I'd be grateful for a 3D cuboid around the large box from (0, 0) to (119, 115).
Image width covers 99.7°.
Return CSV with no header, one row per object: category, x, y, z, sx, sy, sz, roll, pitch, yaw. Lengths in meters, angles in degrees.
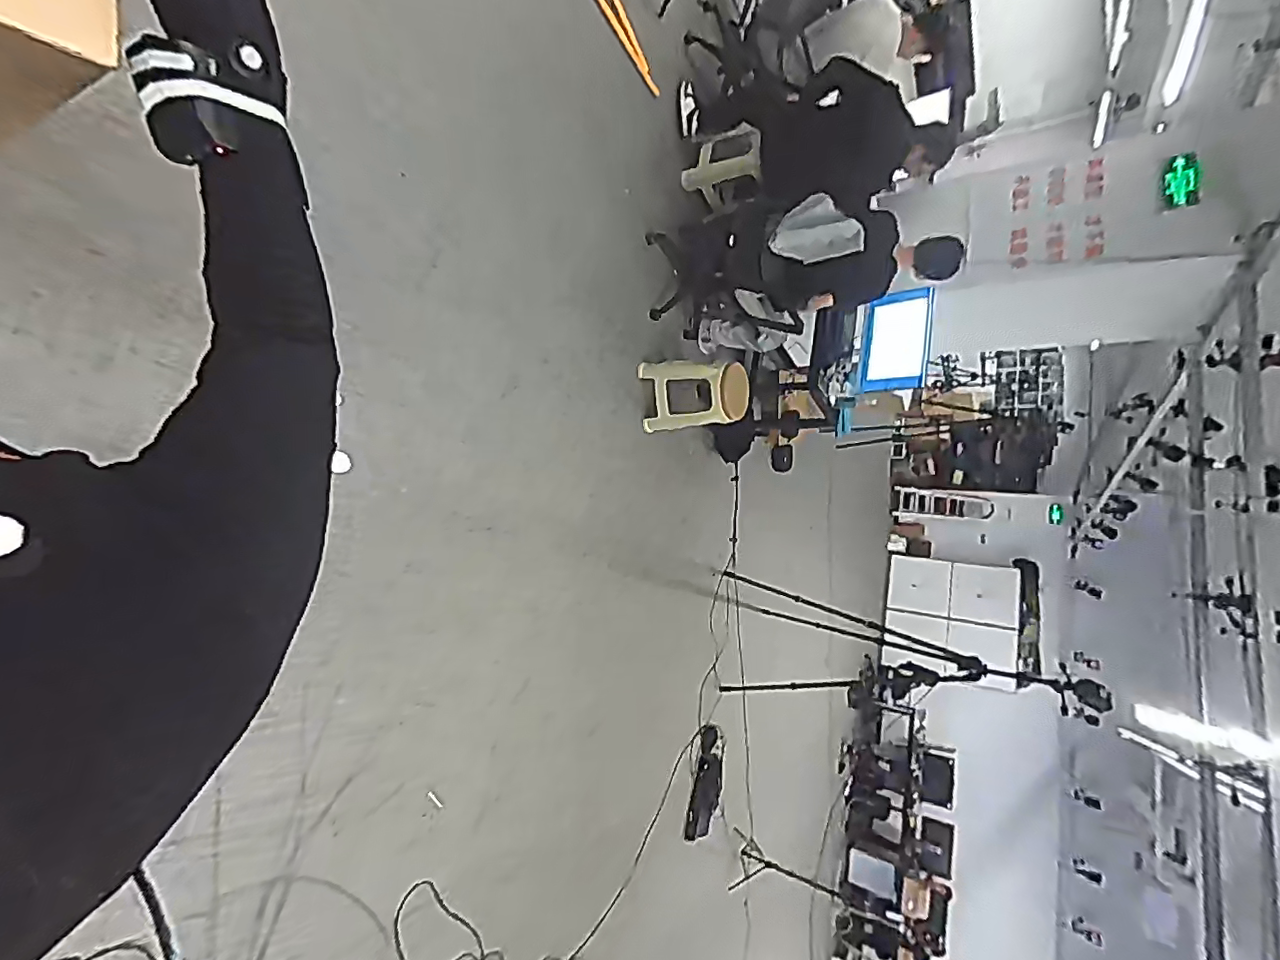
large box,-0.551,-0.430,0.226,0.408,0.320,0.320,-10,108,-58
